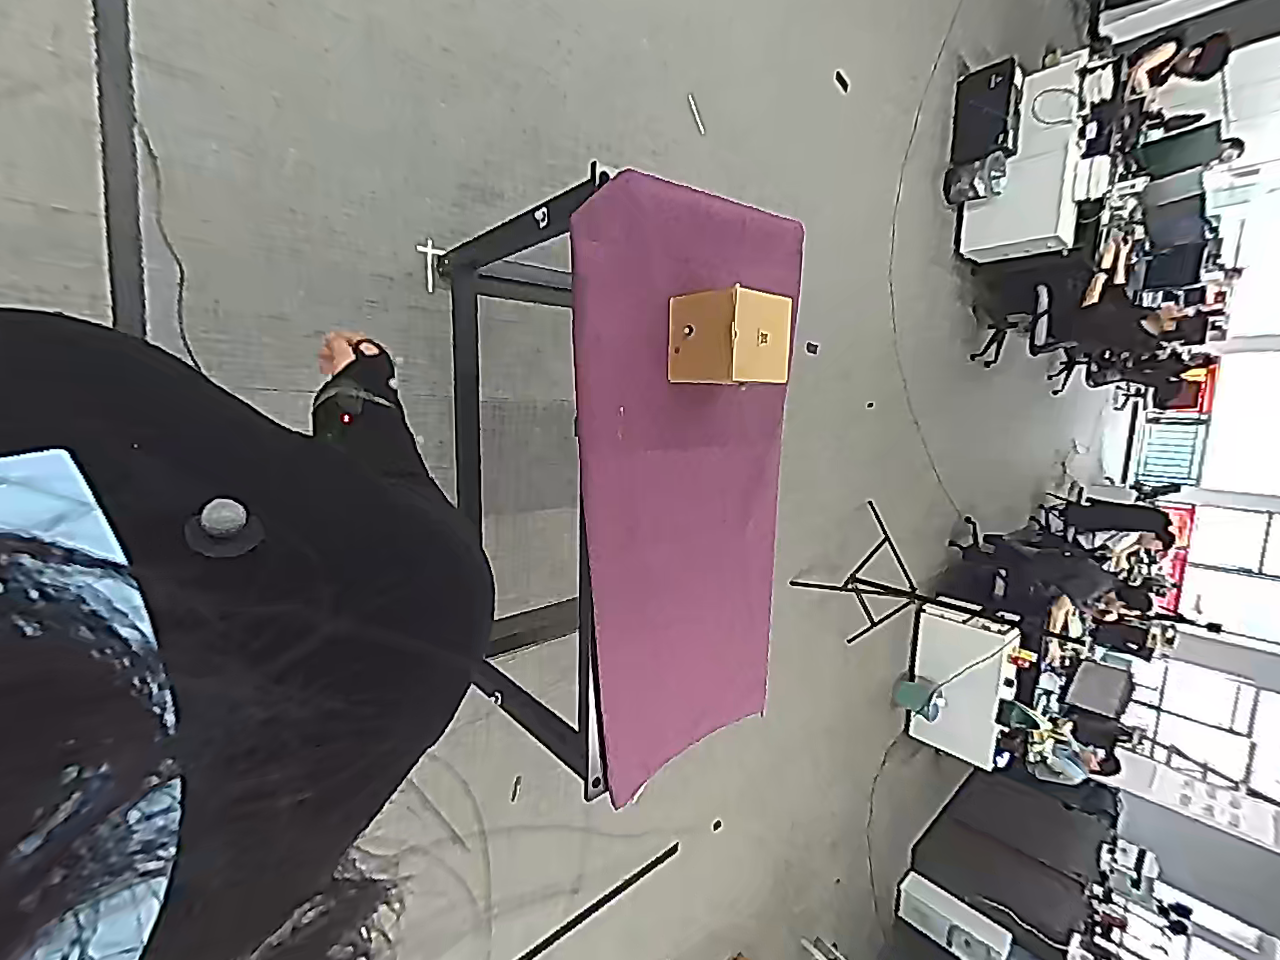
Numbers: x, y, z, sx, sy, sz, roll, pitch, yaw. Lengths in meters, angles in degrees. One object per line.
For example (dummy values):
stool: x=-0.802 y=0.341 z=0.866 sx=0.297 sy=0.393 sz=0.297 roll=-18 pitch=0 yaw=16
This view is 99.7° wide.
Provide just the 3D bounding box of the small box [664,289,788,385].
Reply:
small box: x=0.171 y=-0.278 z=1.081 sx=0.179 sy=0.176 sz=0.168 roll=-7 pitch=103 yaw=-41
